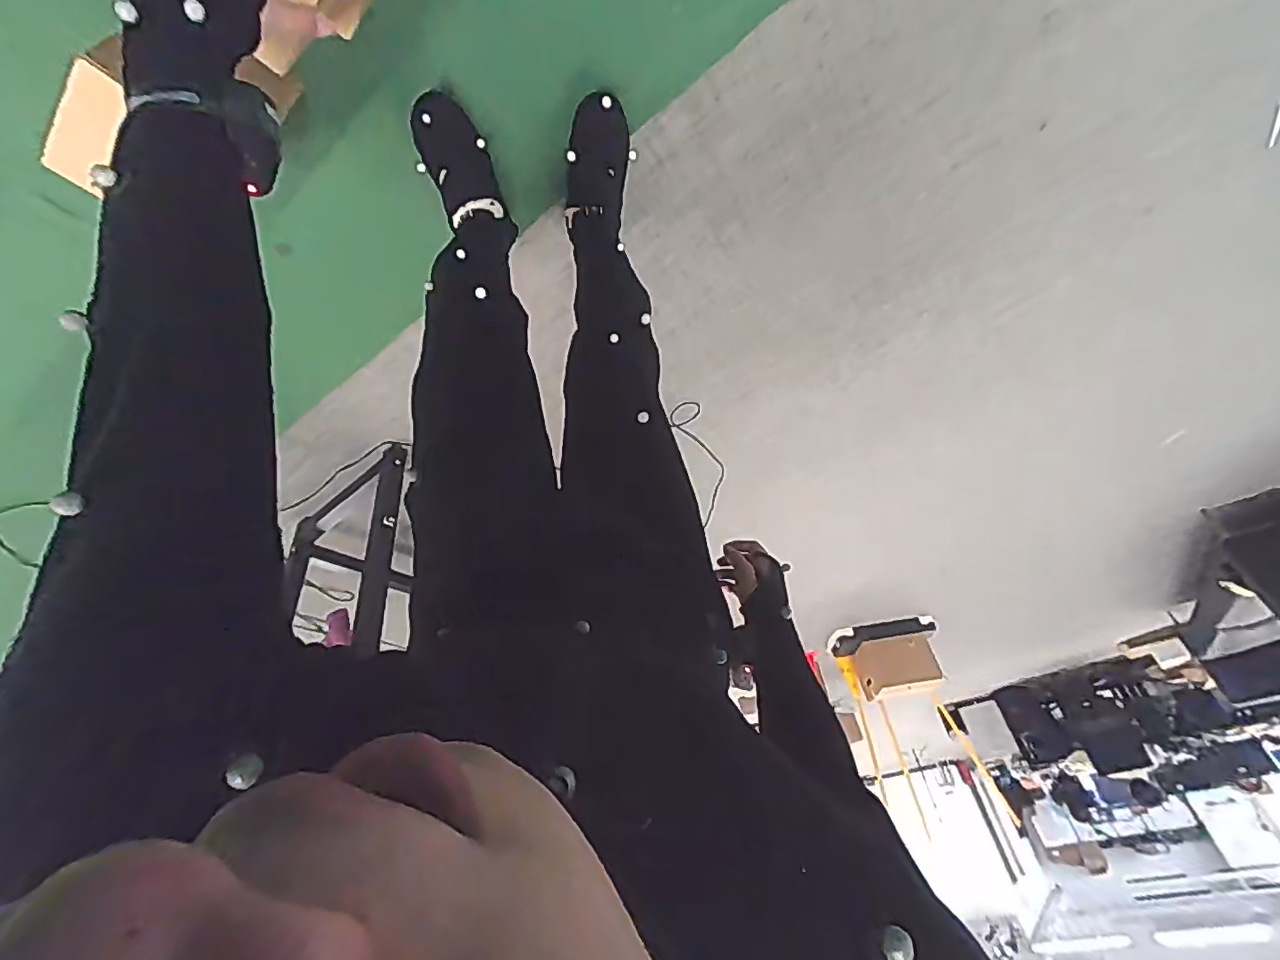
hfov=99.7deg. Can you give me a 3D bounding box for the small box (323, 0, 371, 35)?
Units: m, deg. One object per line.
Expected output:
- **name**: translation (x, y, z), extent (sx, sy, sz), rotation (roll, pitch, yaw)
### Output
- **small box**: translation (-0.354, -0.649, 0.583), extent (0.179, 0.176, 0.168), rotation (26, 132, -38)

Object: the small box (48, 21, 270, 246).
- **small box**: translation (-0.651, -0.479, 0.753), extent (0.179, 0.176, 0.168), rotation (-31, 138, 27)

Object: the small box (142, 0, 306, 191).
- **small box**: translation (-0.666, -0.611, 0.849), extent (0.168, 0.176, 0.179), rotation (-29, 139, 26)

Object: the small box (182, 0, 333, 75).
- **small box**: translation (-0.347, -0.523, 0.474), extent (0.179, 0.176, 0.168), rotation (-33, 137, 30)
